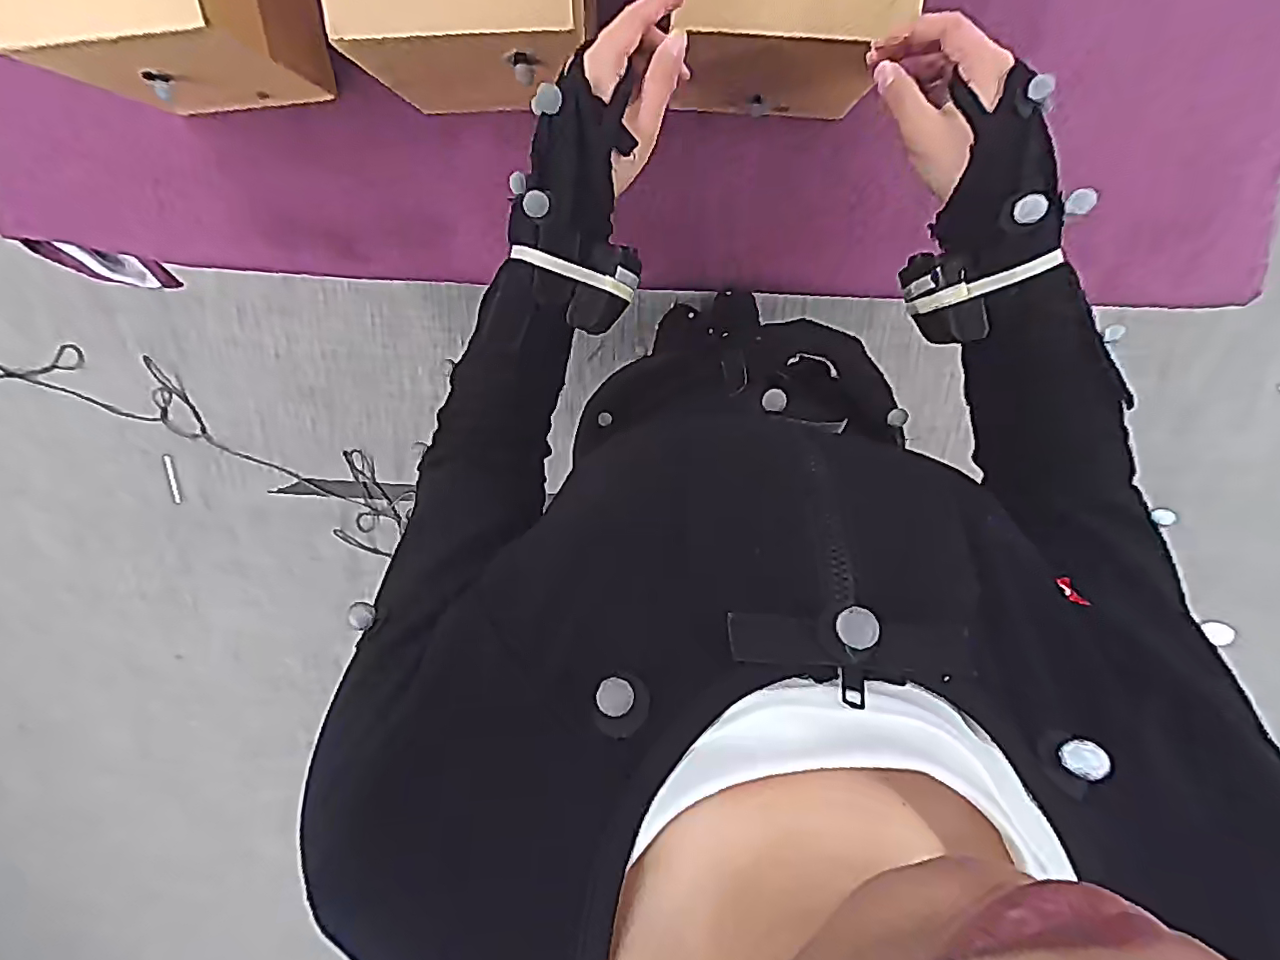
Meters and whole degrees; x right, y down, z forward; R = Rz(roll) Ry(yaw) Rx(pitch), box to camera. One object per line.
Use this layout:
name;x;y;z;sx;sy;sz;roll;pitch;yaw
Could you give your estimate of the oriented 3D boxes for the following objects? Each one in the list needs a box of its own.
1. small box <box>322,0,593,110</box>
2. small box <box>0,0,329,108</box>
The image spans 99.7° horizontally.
small box;-0.130;-0.410;0.421;0.179;0.176;0.168;-1;108;2
small box;-0.386;-0.421;0.430;0.168;0.176;0.179;-3;109;4
